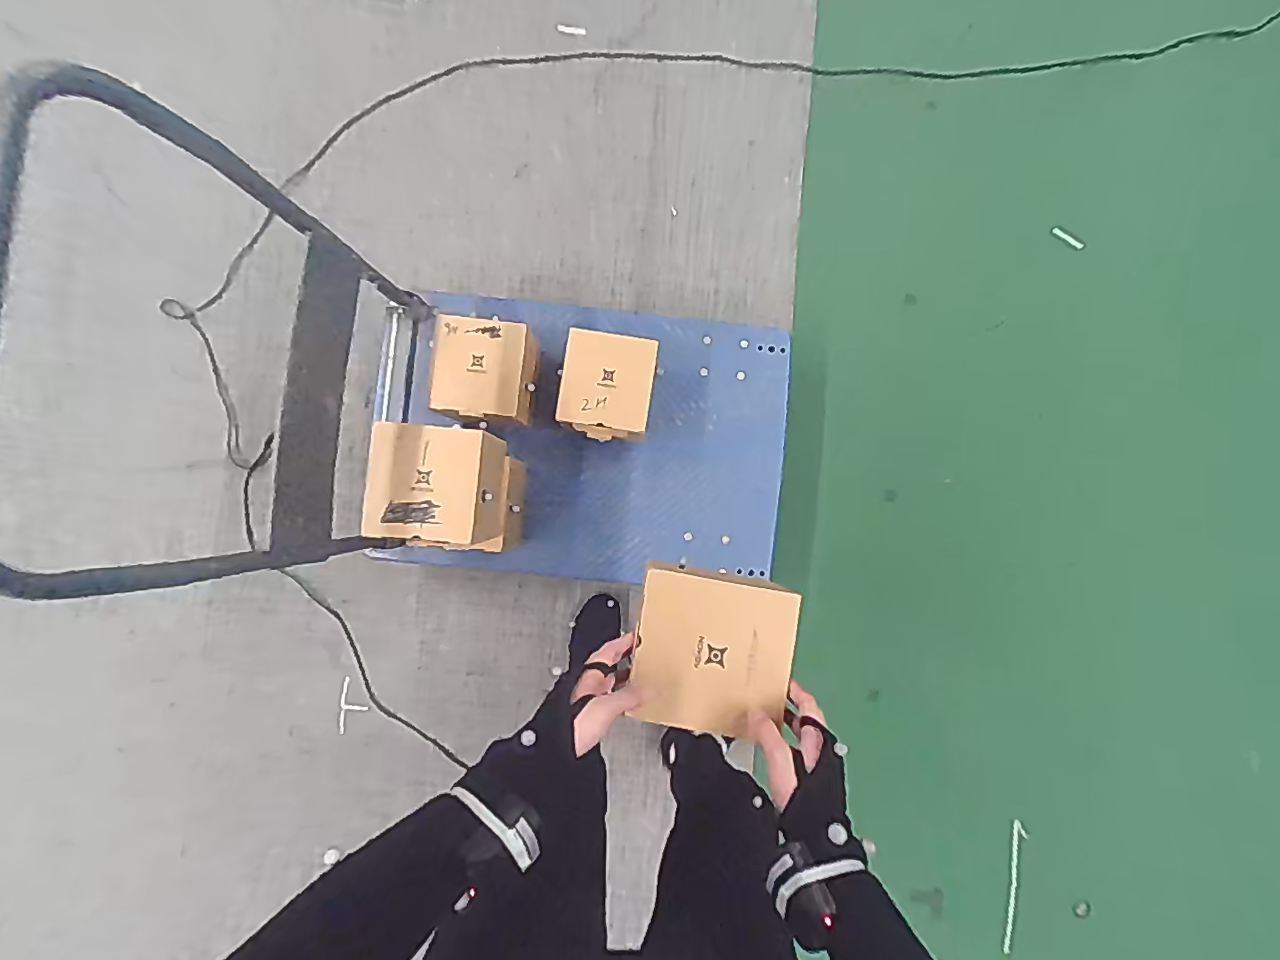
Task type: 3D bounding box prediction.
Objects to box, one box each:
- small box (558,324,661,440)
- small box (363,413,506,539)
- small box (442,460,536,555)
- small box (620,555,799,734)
[{"bbox_3d":[-0.057,-0.184,1.062,0.168,0.176,0.179,10,88,0],"label":"small box"},{"bbox_3d":[-0.324,-0.004,0.886,0.168,0.176,0.179,6,87,-2],"label":"small box"},{"bbox_3d":[-0.330,0.025,1.057,0.179,0.176,0.168,37,89,1],"label":"small box"},{"bbox_3d":[0.080,0.190,0.679,0.179,0.176,0.168,11,85,2],"label":"small box"}]
